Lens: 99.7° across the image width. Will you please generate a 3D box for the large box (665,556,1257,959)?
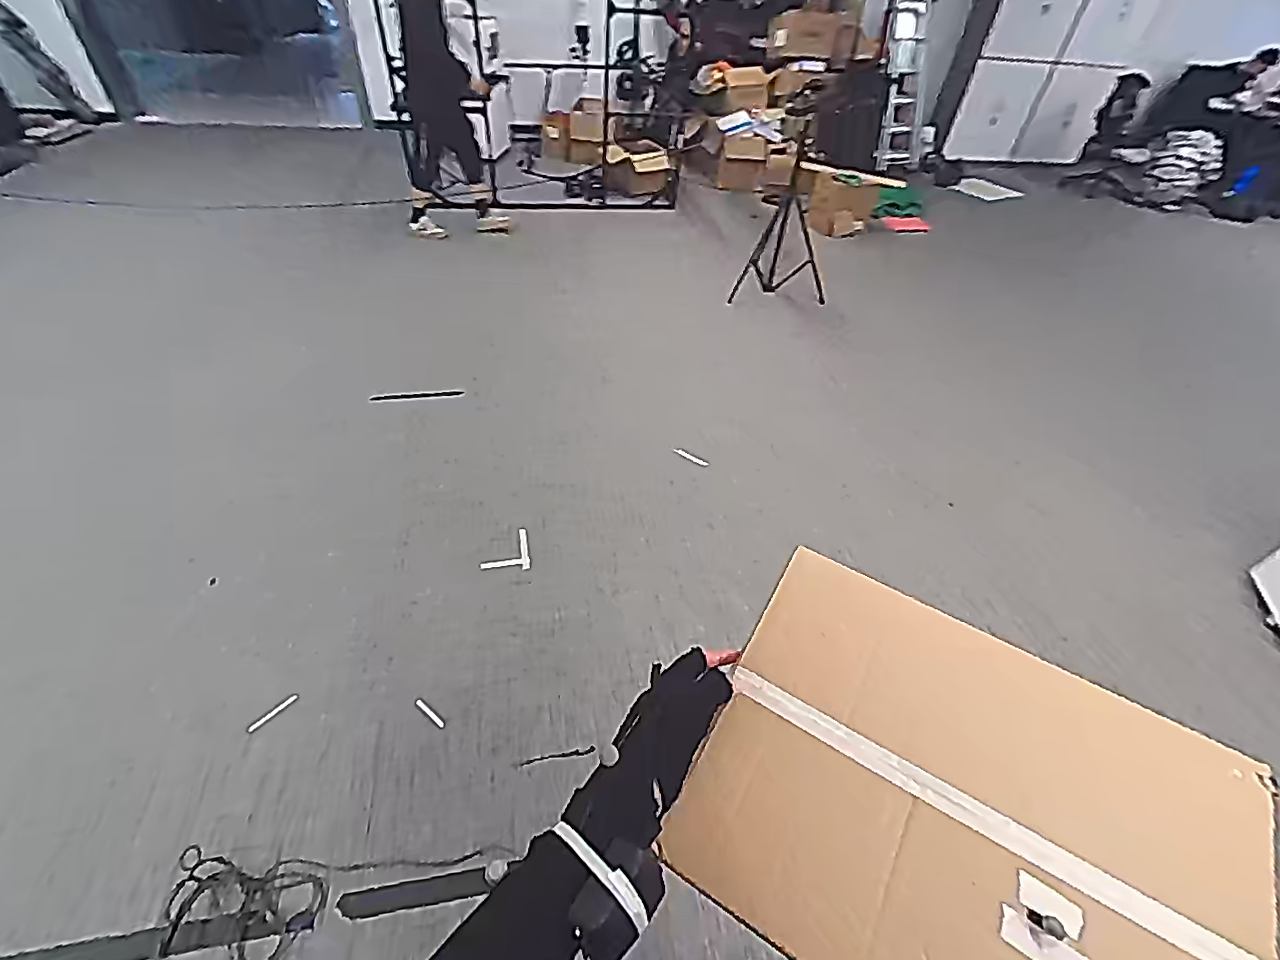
[{"bbox_3d":[0.269,0.350,0.570,0.408,0.320,0.320,26,61,19],"label":"large box"}]
